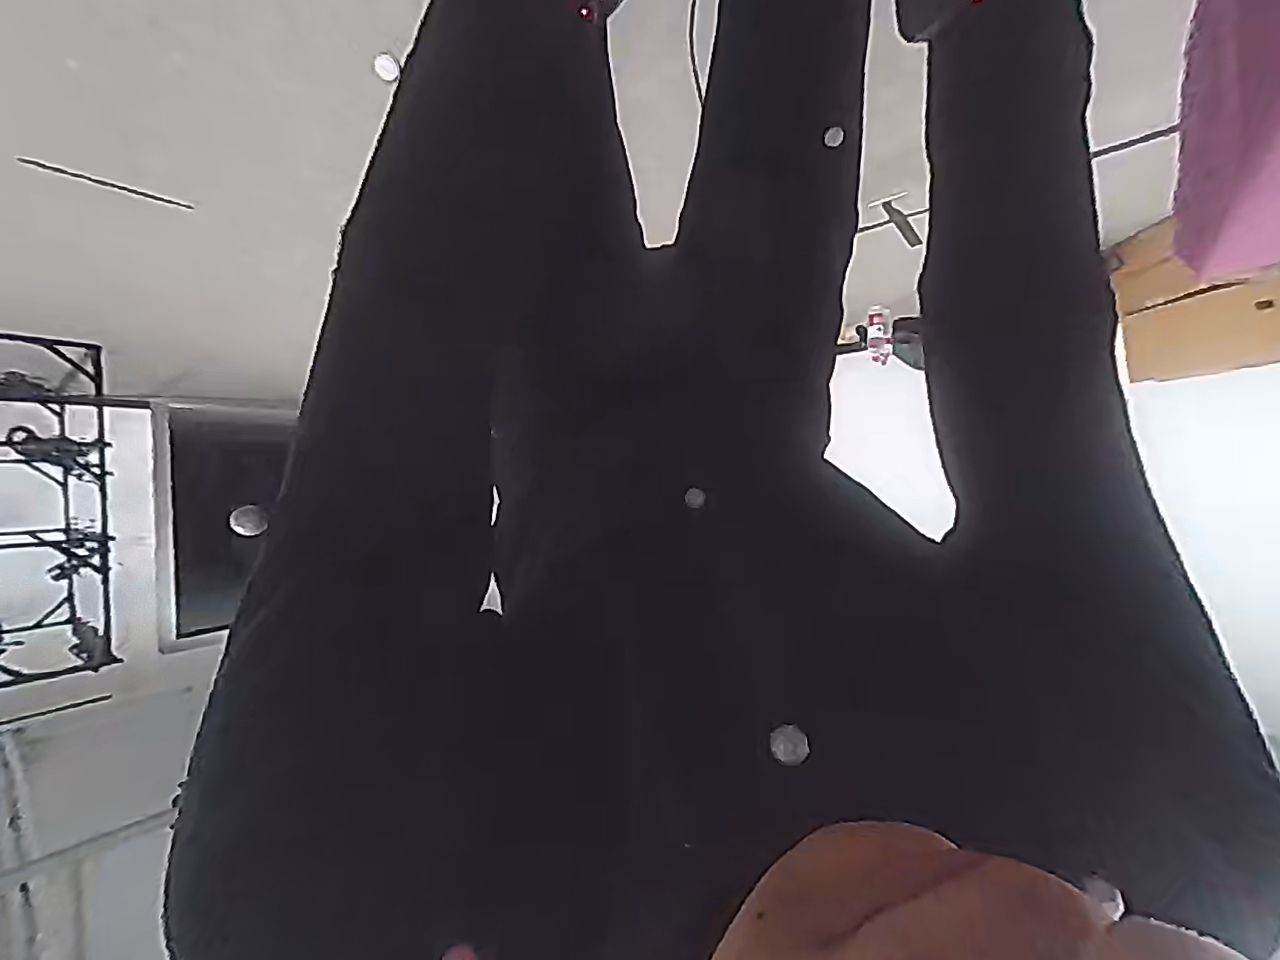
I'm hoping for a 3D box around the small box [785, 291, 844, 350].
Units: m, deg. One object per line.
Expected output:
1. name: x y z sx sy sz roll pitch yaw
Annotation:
1. small box: 0.653 -0.592 2.011 0.168 0.176 0.179 -1 -179 39
